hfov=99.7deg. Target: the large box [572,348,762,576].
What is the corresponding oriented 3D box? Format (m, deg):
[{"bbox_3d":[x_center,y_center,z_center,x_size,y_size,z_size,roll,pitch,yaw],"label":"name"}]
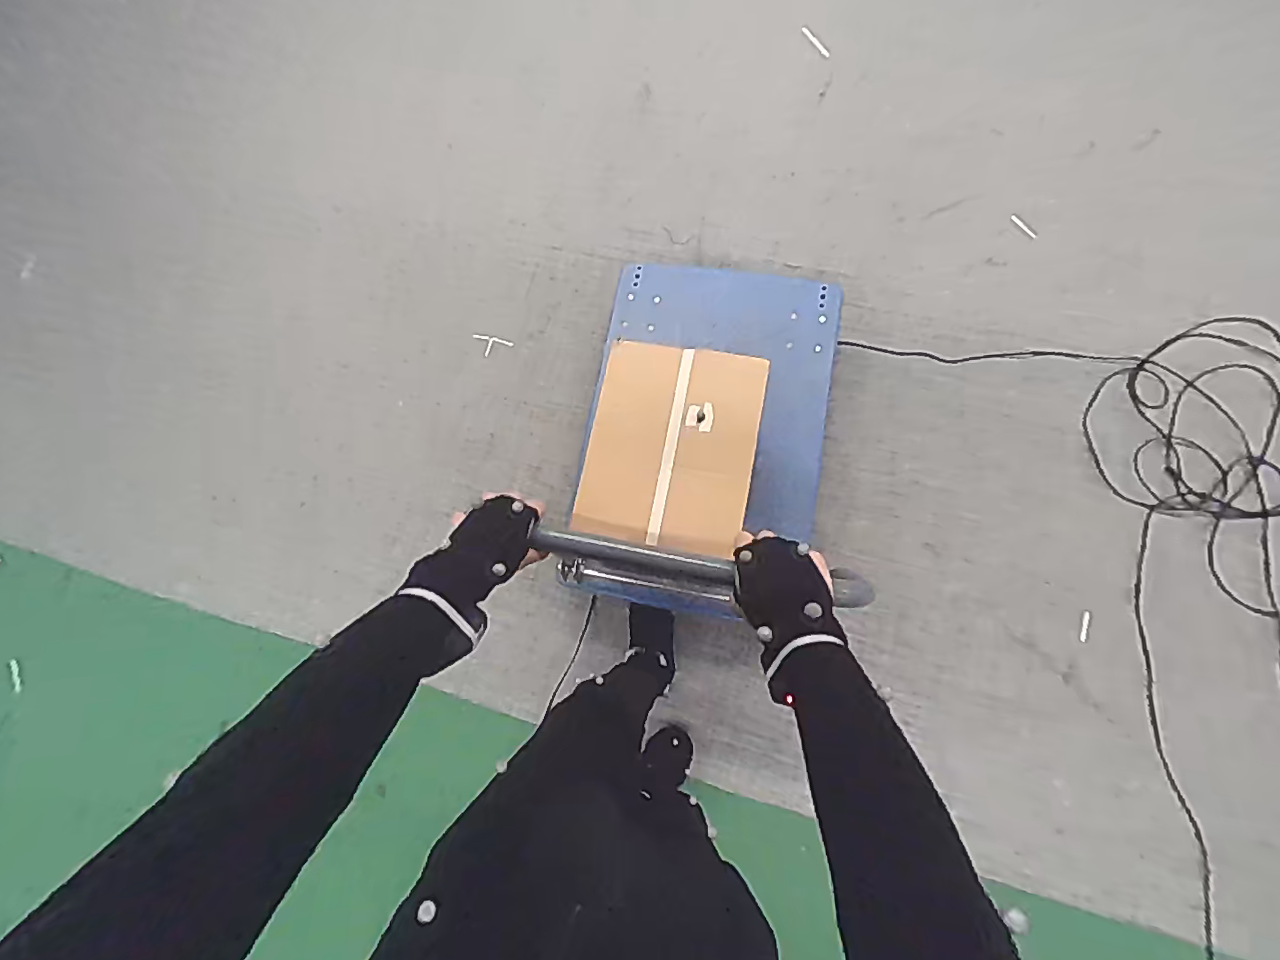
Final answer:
[{"bbox_3d":[0.073,-0.022,1.183,0.320,0.320,0.408,10,77,9],"label":"large box"}]
